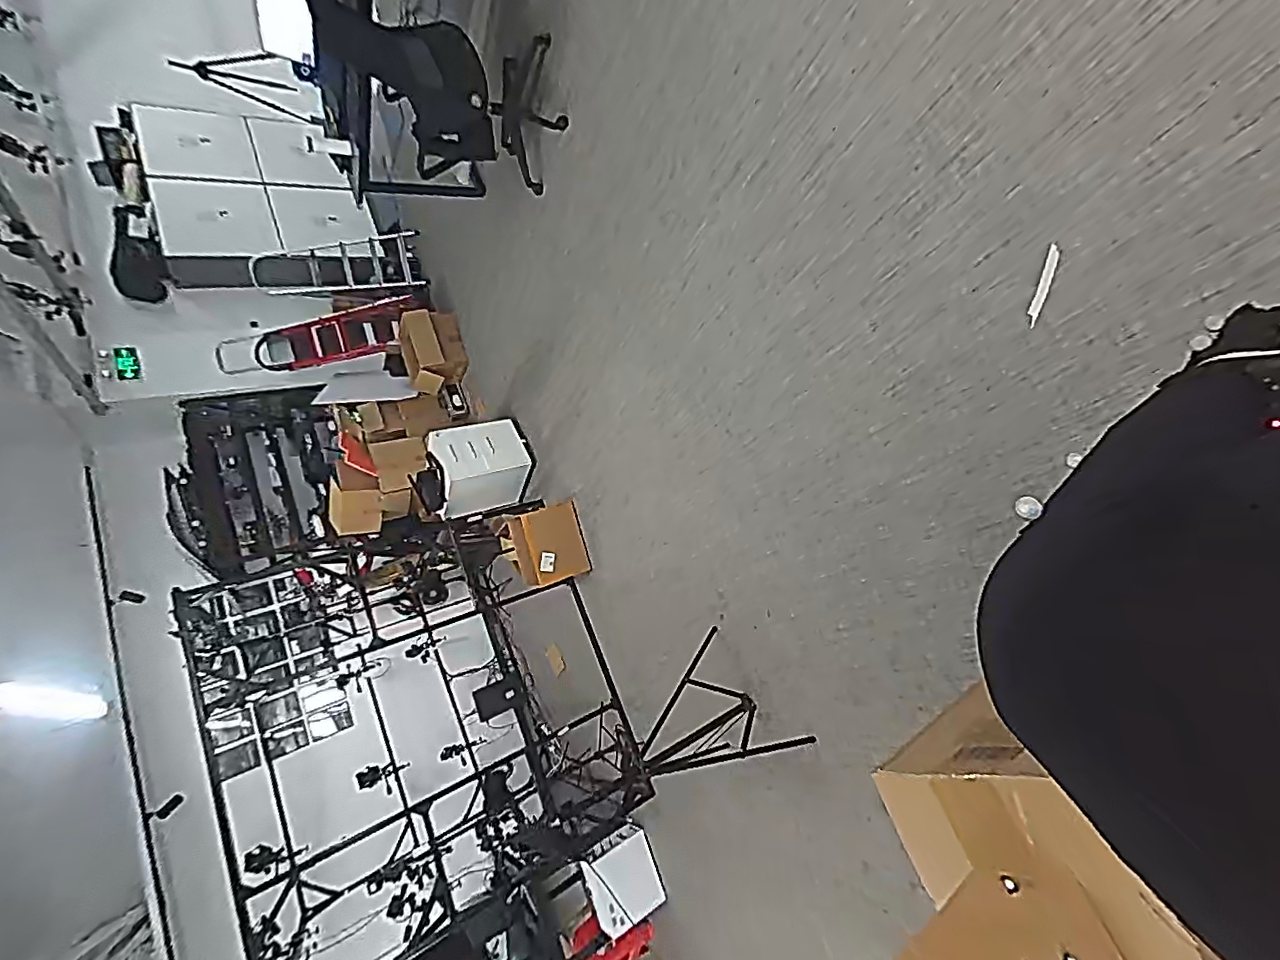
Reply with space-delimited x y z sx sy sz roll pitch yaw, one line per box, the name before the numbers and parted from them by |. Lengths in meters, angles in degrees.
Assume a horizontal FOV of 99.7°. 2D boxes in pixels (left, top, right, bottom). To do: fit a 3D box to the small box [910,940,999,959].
small box | 0.422 0.730 0.674 0.168 0.176 0.179 65 148 16
